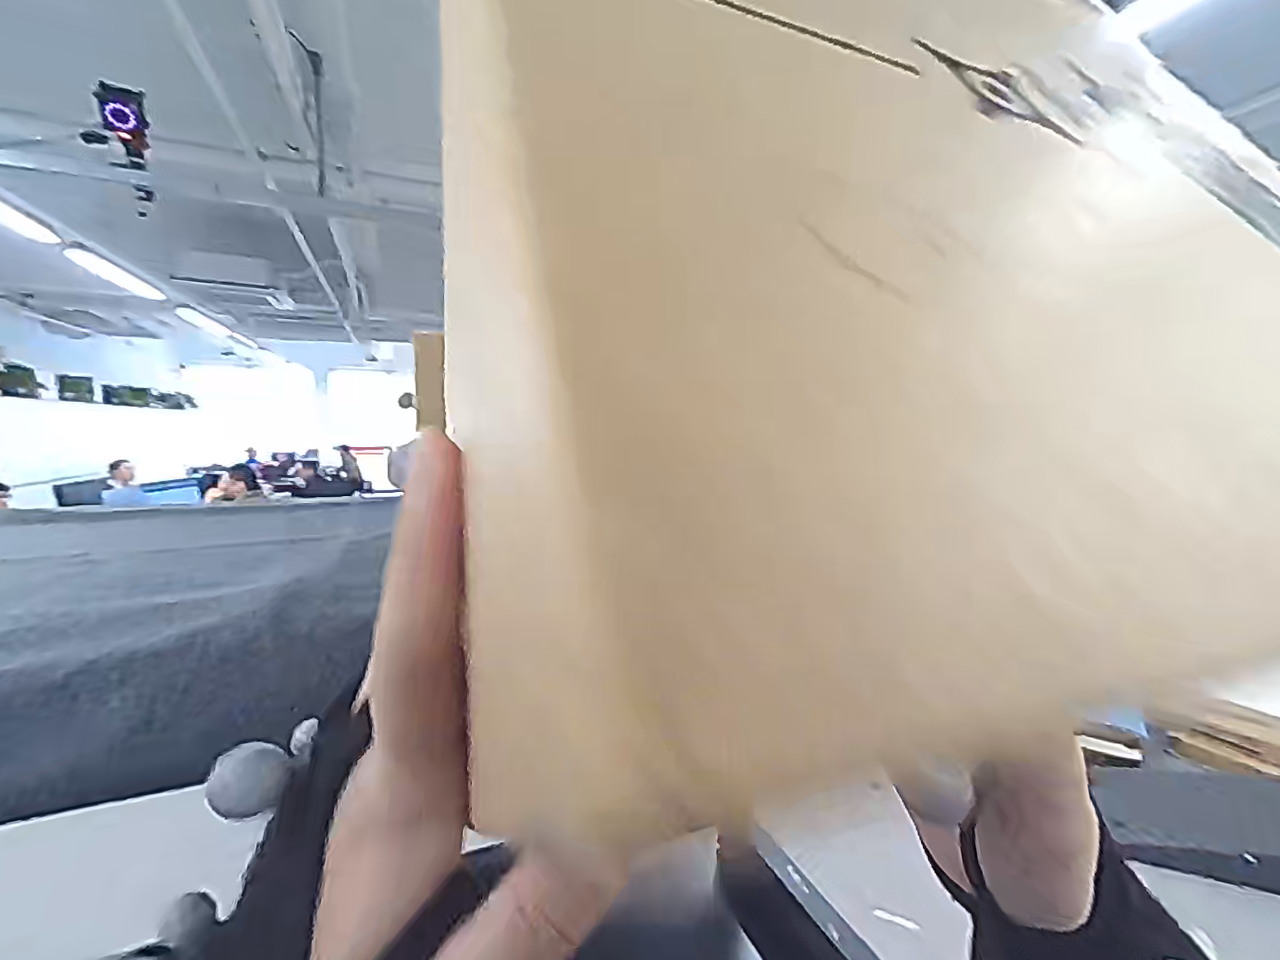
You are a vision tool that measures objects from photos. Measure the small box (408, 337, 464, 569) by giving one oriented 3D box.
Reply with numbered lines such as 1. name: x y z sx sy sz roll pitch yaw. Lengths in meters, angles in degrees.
1. small box: -0.103 -0.022 0.469 0.168 0.176 0.179 -2 4 -20

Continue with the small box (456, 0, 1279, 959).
1. small box: 0.043 -0.012 0.153 0.179 0.168 0.176 -2 -29 -19
